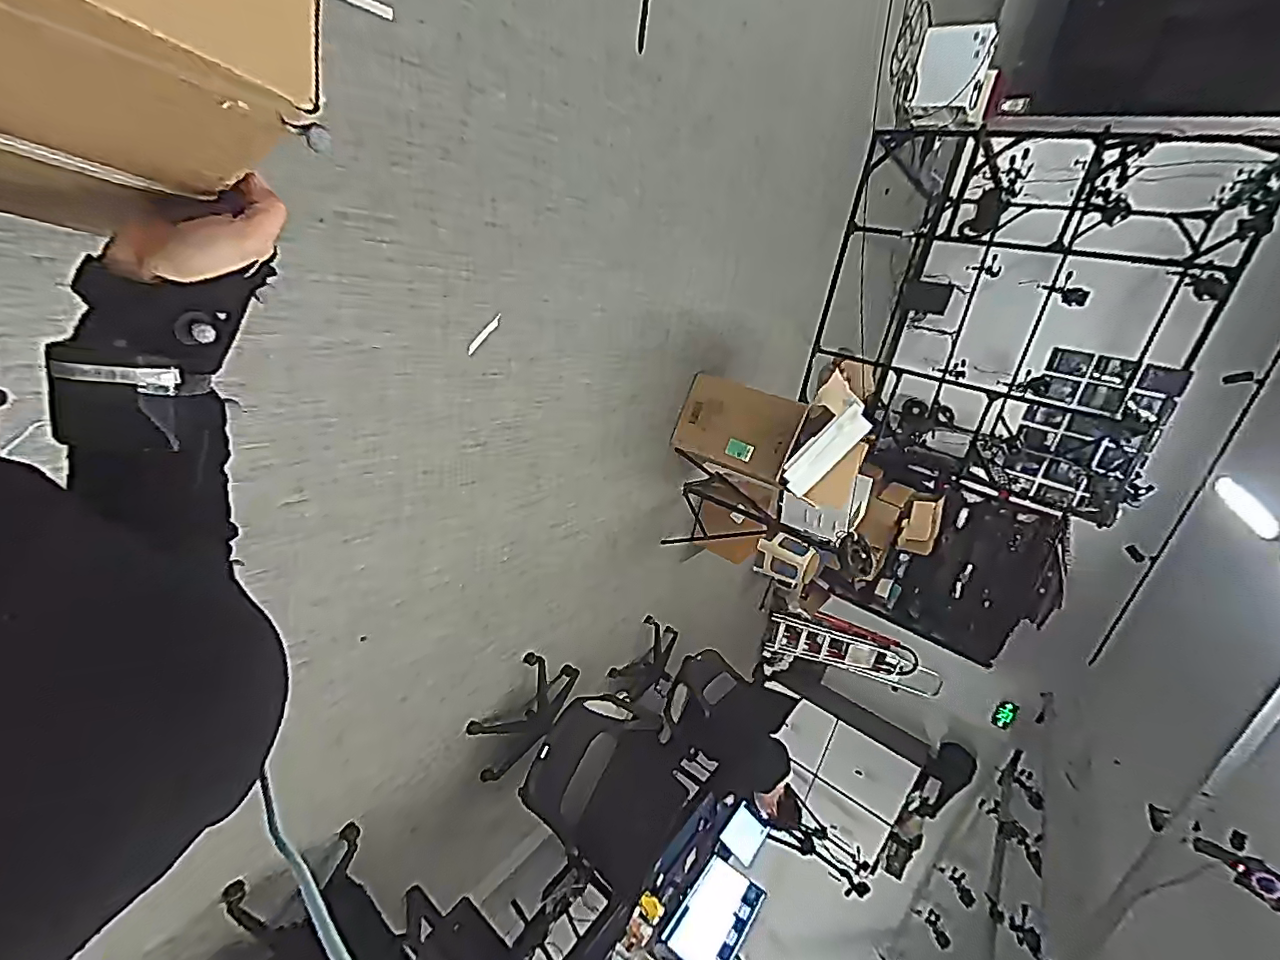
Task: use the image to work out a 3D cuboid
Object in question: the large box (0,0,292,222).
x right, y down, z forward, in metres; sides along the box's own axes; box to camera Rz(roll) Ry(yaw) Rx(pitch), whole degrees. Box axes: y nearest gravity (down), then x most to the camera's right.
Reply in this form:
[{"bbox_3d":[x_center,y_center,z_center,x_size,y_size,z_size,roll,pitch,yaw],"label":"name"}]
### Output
[{"bbox_3d":[-0.395,-0.333,0.168,0.408,0.320,0.320,-5,99,-52],"label":"large box"}]
